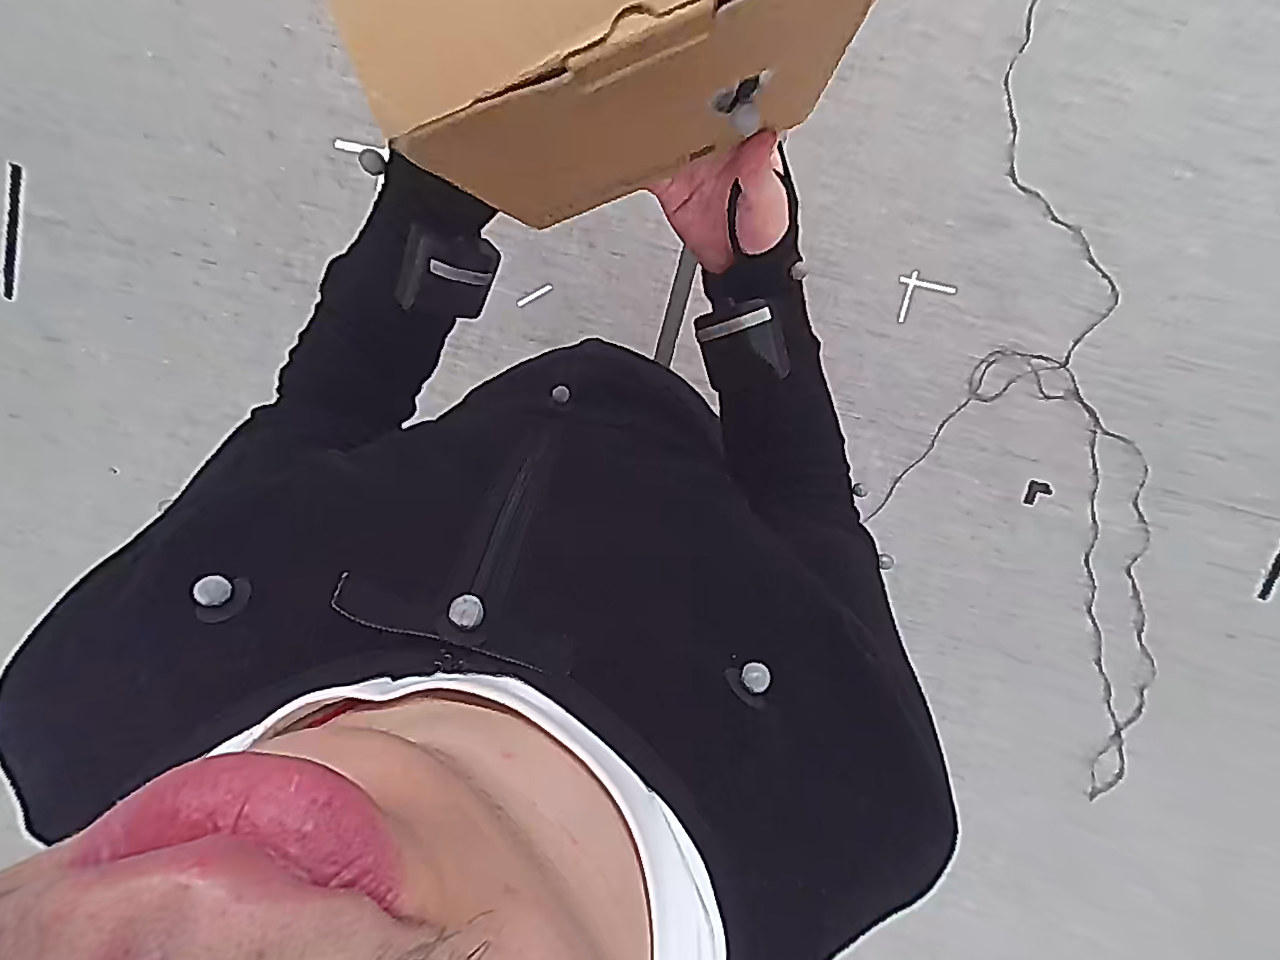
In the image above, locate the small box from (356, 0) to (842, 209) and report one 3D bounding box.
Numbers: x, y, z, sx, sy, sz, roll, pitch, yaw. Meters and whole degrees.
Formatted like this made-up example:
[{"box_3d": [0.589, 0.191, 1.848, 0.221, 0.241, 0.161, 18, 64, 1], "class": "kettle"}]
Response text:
[{"box_3d": [-0.019, -0.233, 0.221, 0.168, 0.176, 0.179, -19, 103, 8], "class": "small box"}]
